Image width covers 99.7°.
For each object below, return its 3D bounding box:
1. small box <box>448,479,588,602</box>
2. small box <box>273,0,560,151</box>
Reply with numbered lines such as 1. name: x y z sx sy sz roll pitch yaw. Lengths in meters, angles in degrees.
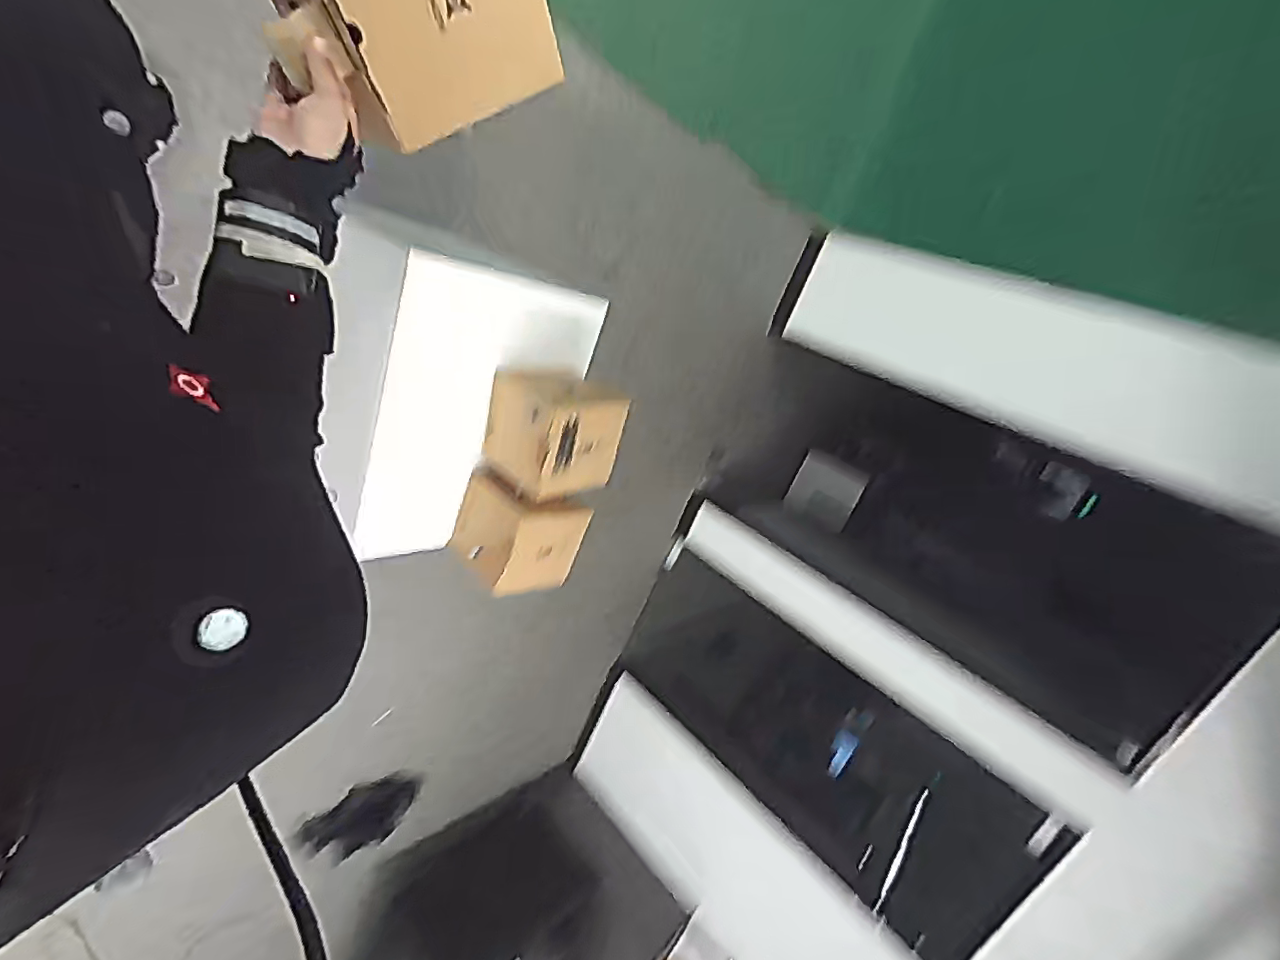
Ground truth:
1. small box: -0.238 0.108 1.040 0.179 0.176 0.168 0 119 -53
2. small box: -0.205 -0.423 0.467 0.179 0.176 0.168 -39 144 -15
